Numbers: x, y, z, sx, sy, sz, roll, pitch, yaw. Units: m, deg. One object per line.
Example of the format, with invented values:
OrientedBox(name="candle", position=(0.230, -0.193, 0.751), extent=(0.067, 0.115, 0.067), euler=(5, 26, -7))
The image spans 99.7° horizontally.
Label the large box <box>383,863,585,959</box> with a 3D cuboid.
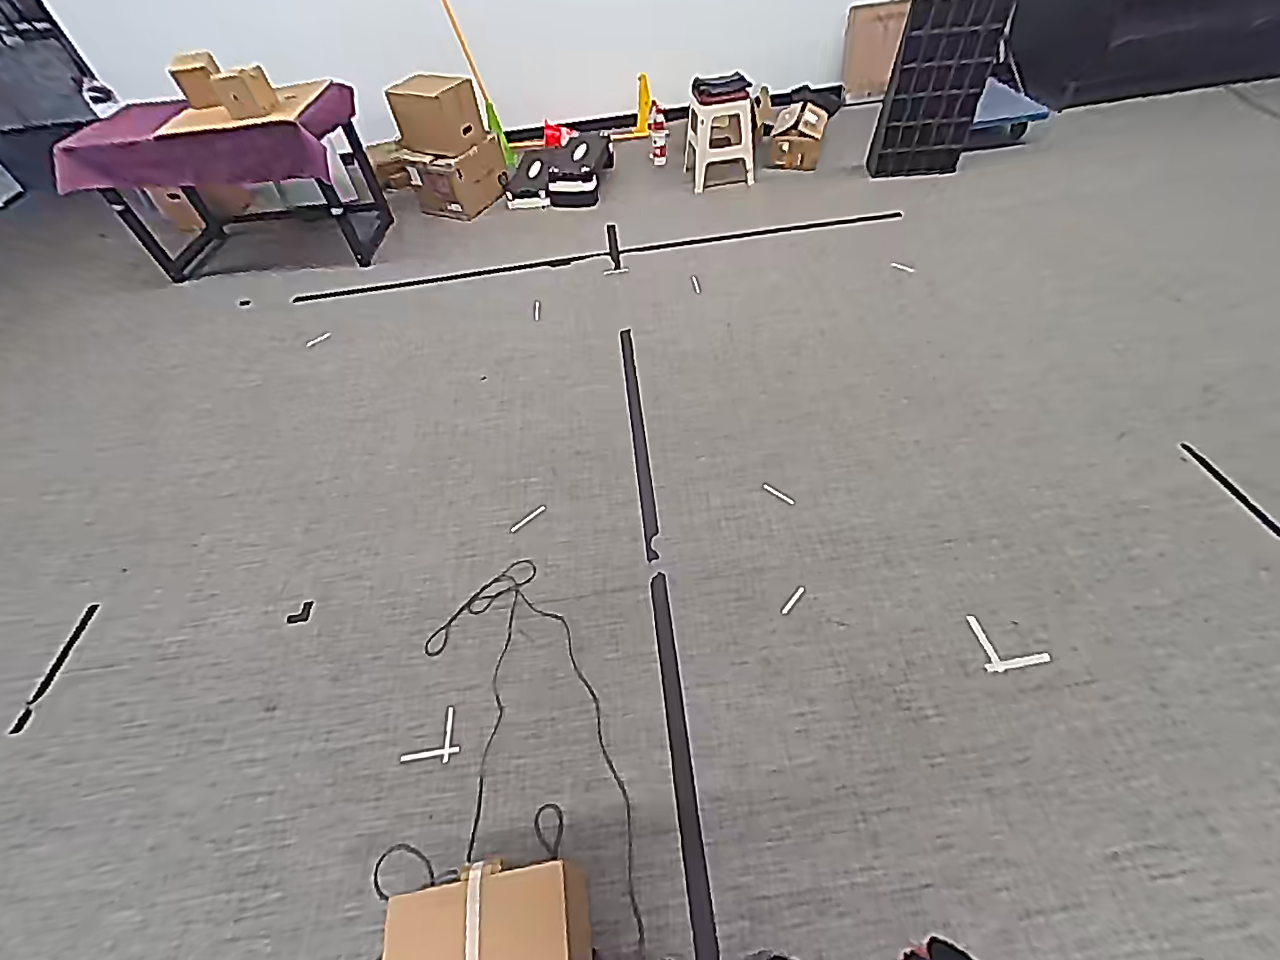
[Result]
OrientedBox(name="large box", position=(-0.258, 0.969, 0.973), extent=(0.320, 0.320, 0.408), euler=(-10, 52, -4))
